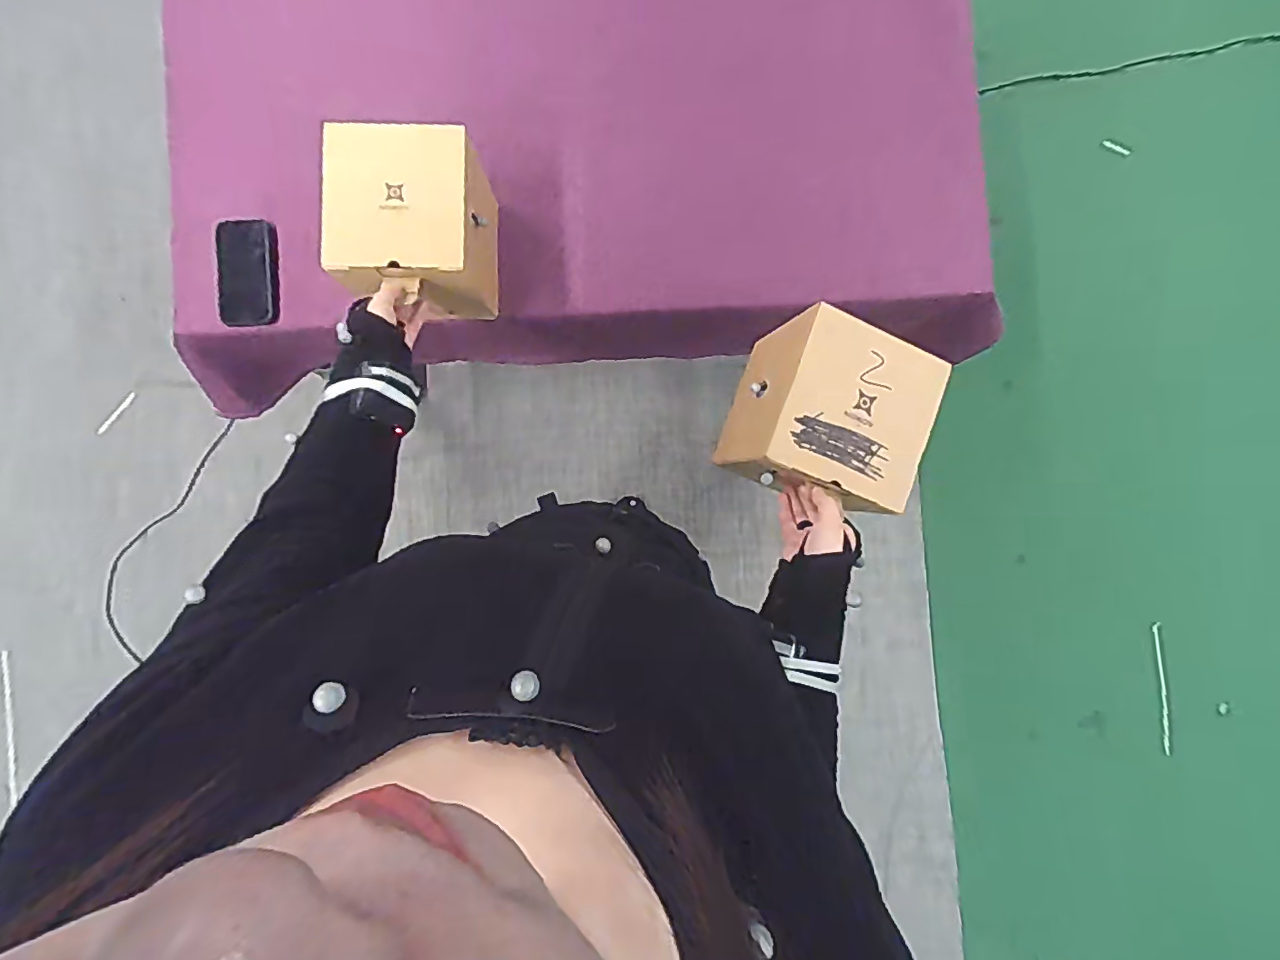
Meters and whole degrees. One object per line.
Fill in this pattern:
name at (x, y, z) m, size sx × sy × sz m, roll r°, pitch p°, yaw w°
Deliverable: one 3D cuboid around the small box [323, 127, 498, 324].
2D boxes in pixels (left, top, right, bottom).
small box at (-0.287, -0.321, 0.710) m, size 0.168 × 0.176 × 0.179 m, roll 0°, pitch 88°, yaw -3°
